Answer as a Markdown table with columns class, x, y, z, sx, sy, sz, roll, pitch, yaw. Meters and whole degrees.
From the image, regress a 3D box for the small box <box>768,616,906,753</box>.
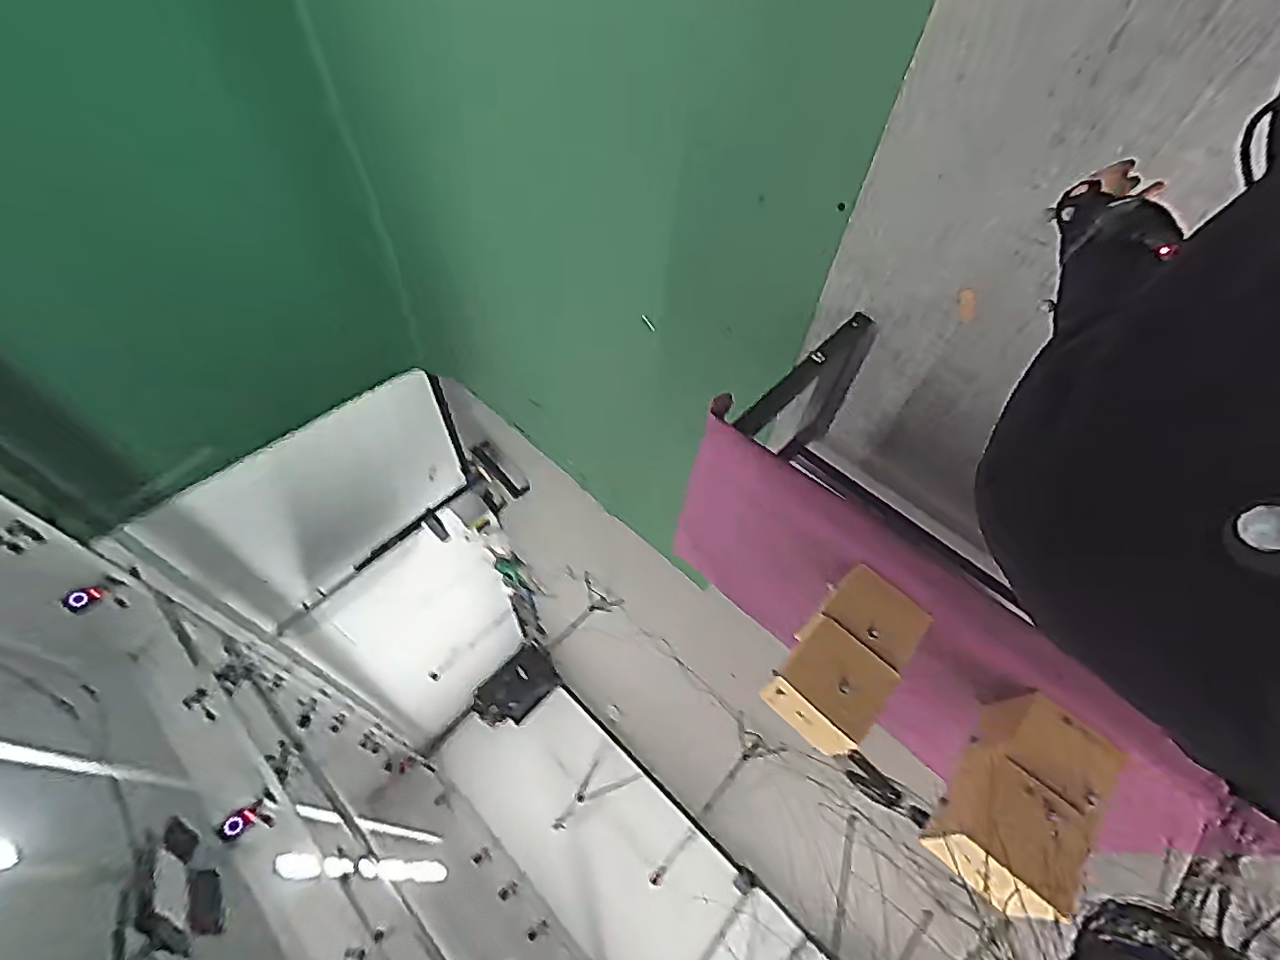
| class | x | y | z | sx | sy | sz | roll | pitch | yaw |
| --- | --- | --- | --- | --- | --- | --- | --- | --- | --- |
| small box | 0.390 | 0.404 | 1.075 | 0.179 | 0.176 | 0.168 | 38 | 152 | 19 |

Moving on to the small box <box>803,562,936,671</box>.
| class | x | y | z | sx | sy | sz | roll | pitch | yaw |
| --- | --- | --- | --- | --- | --- | --- | --- | --- | --- |
| small box | 0.492 | 0.309 | 1.163 | 0.179 | 0.176 | 0.168 | 40 | 152 | 19 |

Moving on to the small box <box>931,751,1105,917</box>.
| class | x | y | z | sx | sy | sz | roll | pitch | yaw |
| --- | --- | --- | --- | --- | --- | --- | --- | --- | --- |
| small box | 0.656 | 0.610 | 0.944 | 0.168 | 0.176 | 0.179 | 36 | 151 | 24 |
